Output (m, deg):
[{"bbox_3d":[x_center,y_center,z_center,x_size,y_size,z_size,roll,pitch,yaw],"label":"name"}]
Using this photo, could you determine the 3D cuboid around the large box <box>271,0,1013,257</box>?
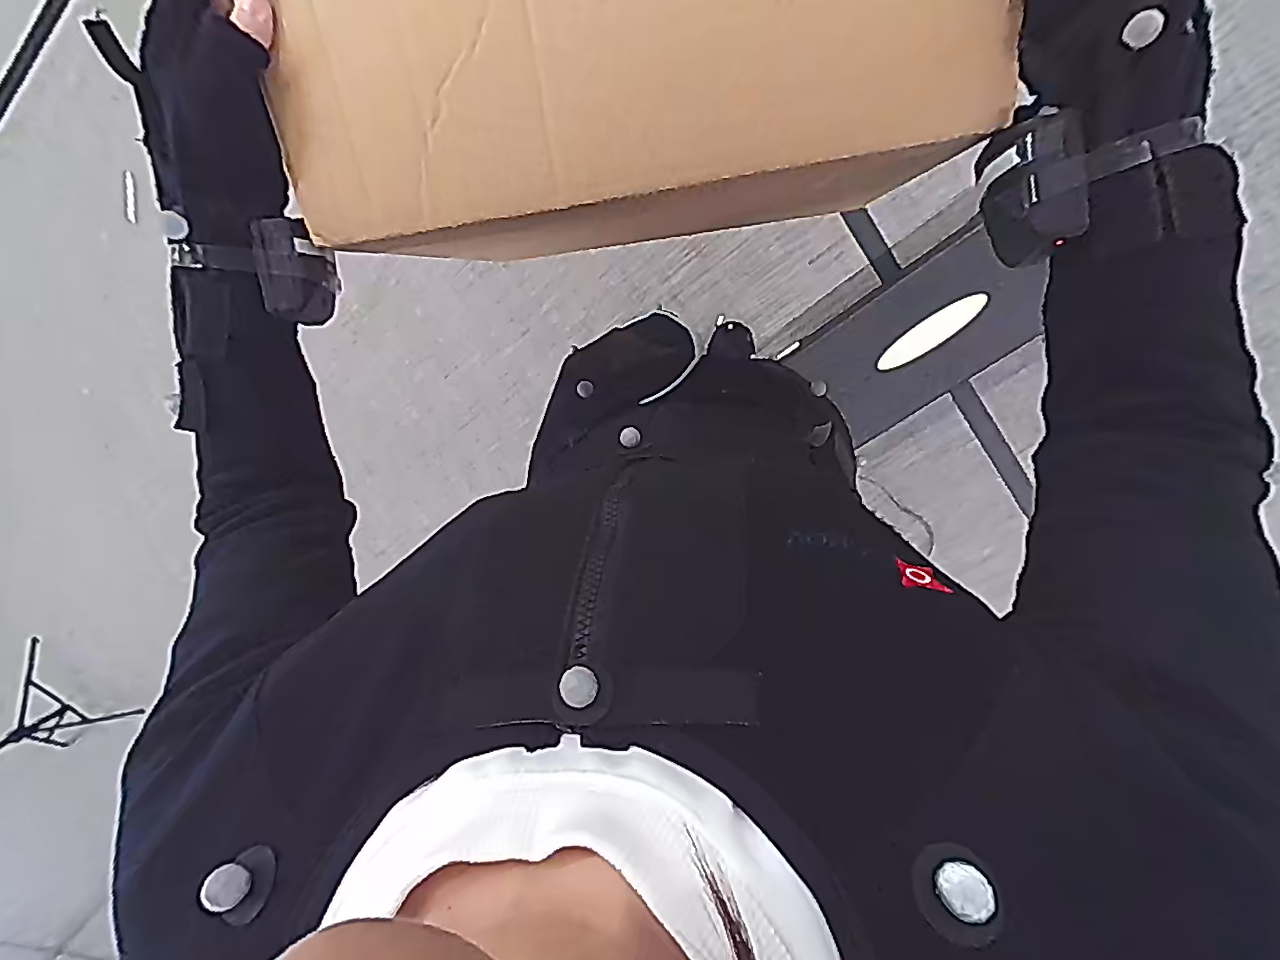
[{"bbox_3d":[-0.003,-0.370,0.410,0.408,0.320,0.320,-5,110,10],"label":"large box"}]
